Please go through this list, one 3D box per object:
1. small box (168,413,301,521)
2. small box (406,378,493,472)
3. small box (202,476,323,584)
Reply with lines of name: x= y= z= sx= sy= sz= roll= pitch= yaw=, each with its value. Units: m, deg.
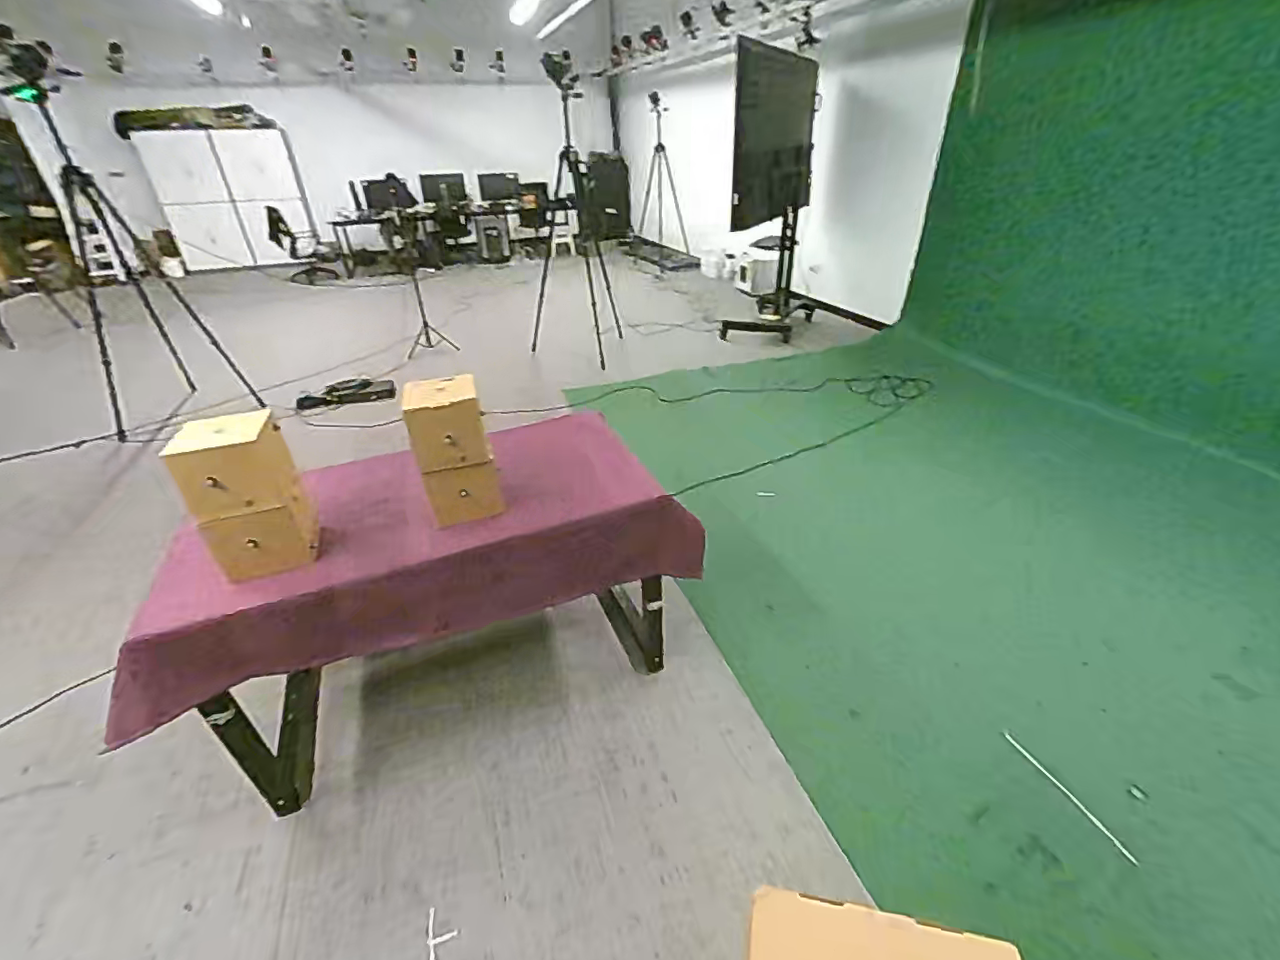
small box: x=-0.869 y=-0.026 z=1.182 sx=0.168 sy=0.176 sz=0.179 roll=-12 pitch=32 yaw=-17
small box: x=-0.462 y=-0.131 z=1.326 sx=0.168 sy=0.176 sz=0.179 roll=-11 pitch=33 yaw=-13
small box: x=-0.865 y=0.115 z=1.263 sx=0.179 sy=0.176 sz=0.168 roll=-14 pitch=33 yaw=-17
